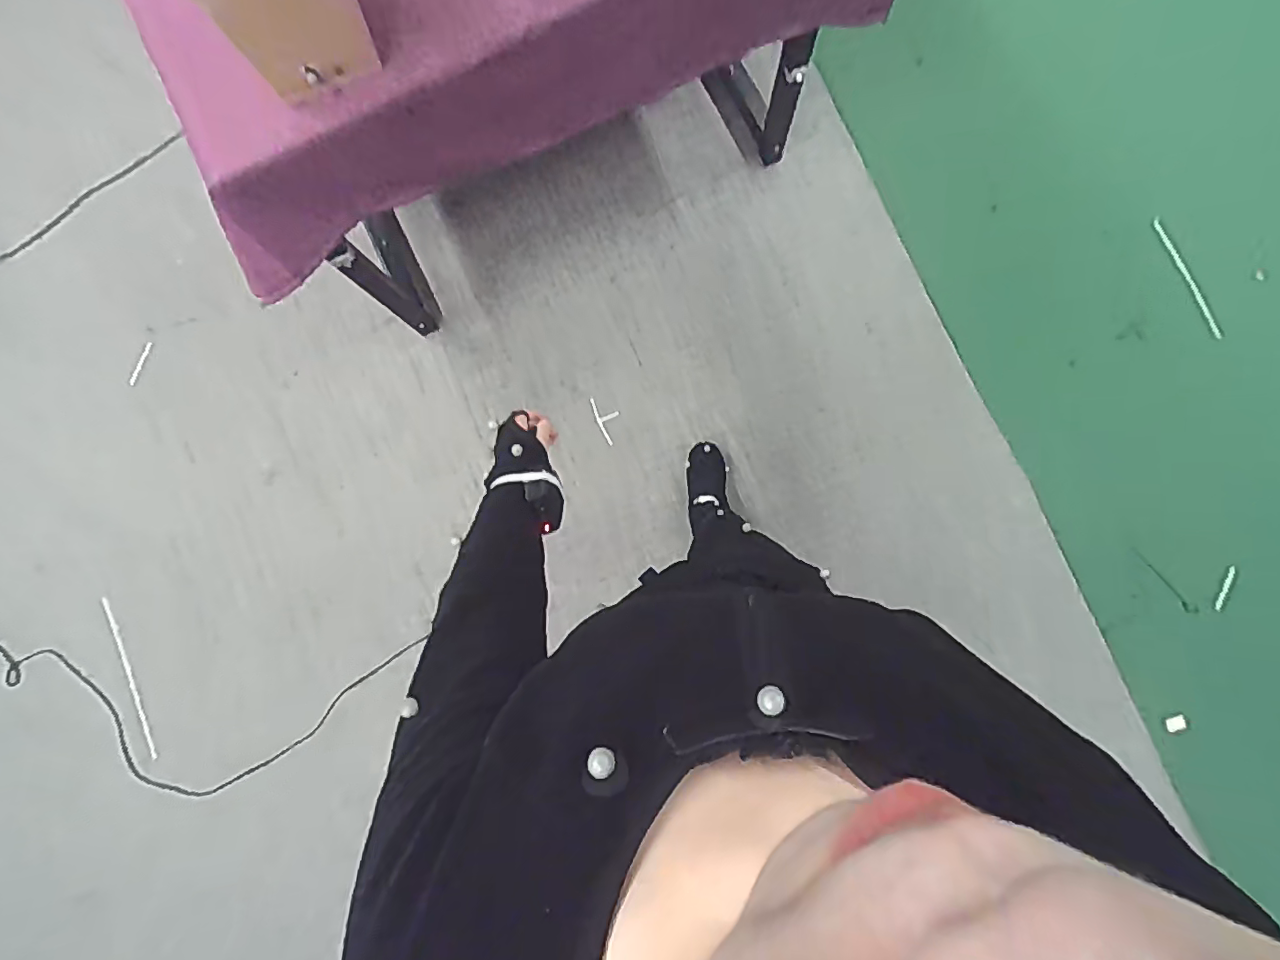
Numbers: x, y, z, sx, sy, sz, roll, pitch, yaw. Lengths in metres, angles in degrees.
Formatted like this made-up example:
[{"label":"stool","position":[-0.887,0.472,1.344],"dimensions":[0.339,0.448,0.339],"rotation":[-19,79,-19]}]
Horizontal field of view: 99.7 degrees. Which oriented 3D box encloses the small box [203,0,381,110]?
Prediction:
[{"label":"small box","position":[-0.524,-0.711,0.807],"dimensions":[0.168,0.176,0.179],"rotation":[-21,84,2]}]
